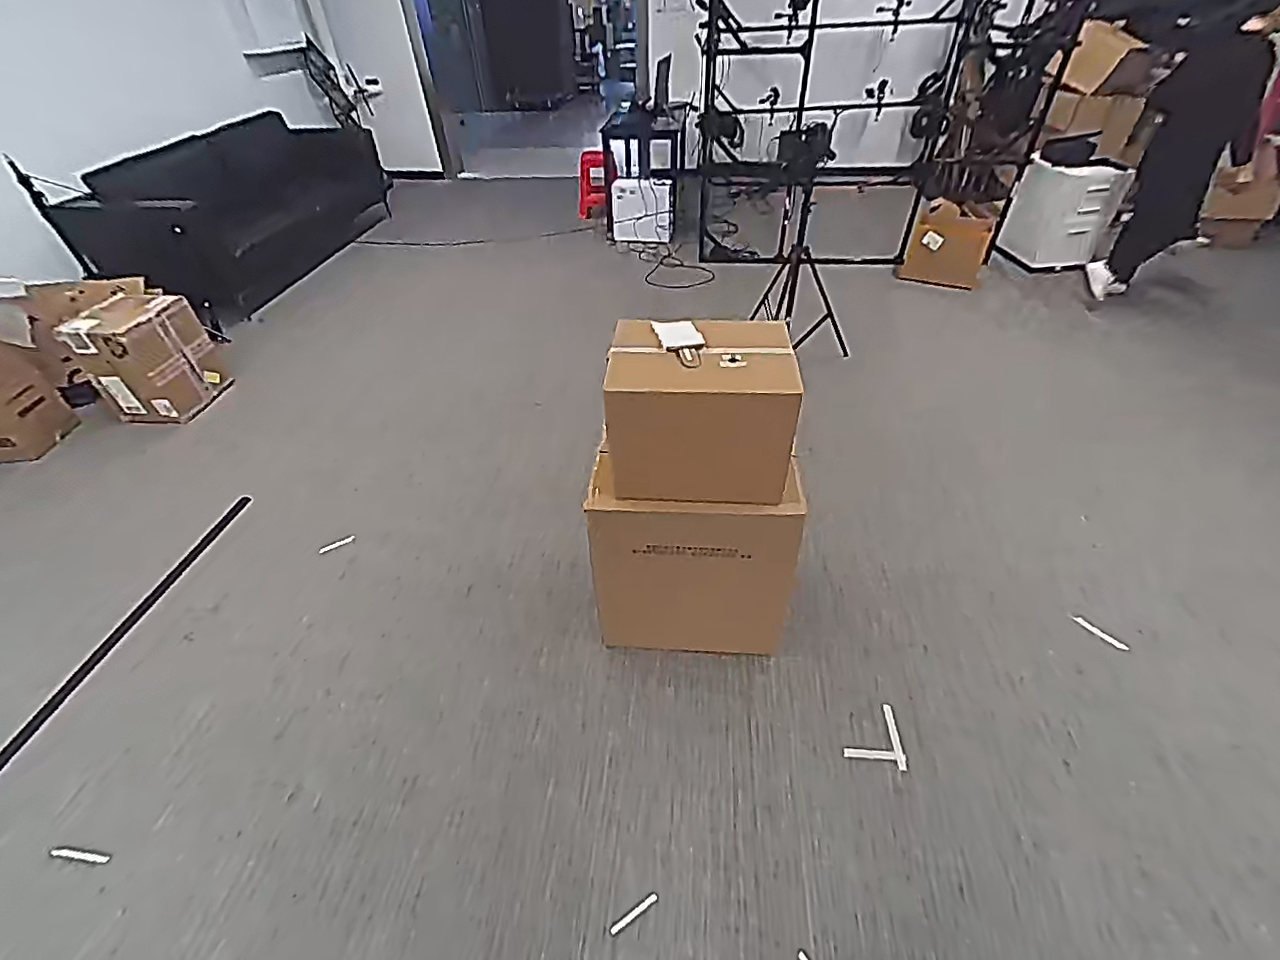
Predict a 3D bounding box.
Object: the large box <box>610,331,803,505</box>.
[{"bbox_3d":[0.144,-0.153,1.311,0.408,0.320,0.320,2,43,4],"label":"large box"}]
